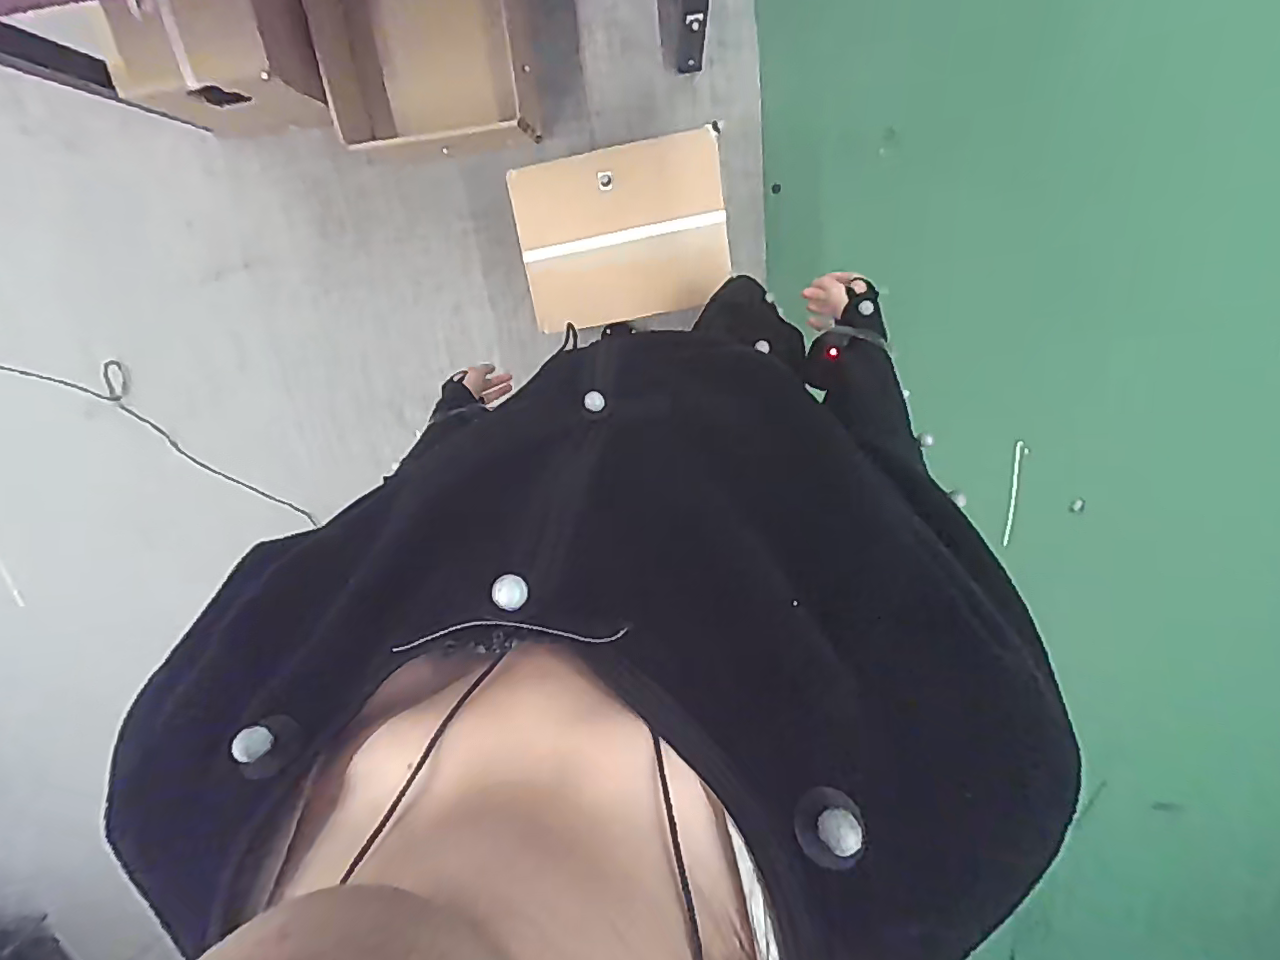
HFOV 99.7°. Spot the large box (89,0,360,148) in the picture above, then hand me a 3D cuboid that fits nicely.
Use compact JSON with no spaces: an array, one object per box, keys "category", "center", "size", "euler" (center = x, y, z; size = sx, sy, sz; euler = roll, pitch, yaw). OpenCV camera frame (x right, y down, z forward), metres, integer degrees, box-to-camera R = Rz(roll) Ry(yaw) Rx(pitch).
[{"category":"large box","center":[-0.840,-0.952,1.094],"size":[0.320,0.320,0.408],"euler":[-5,110,5]}]
